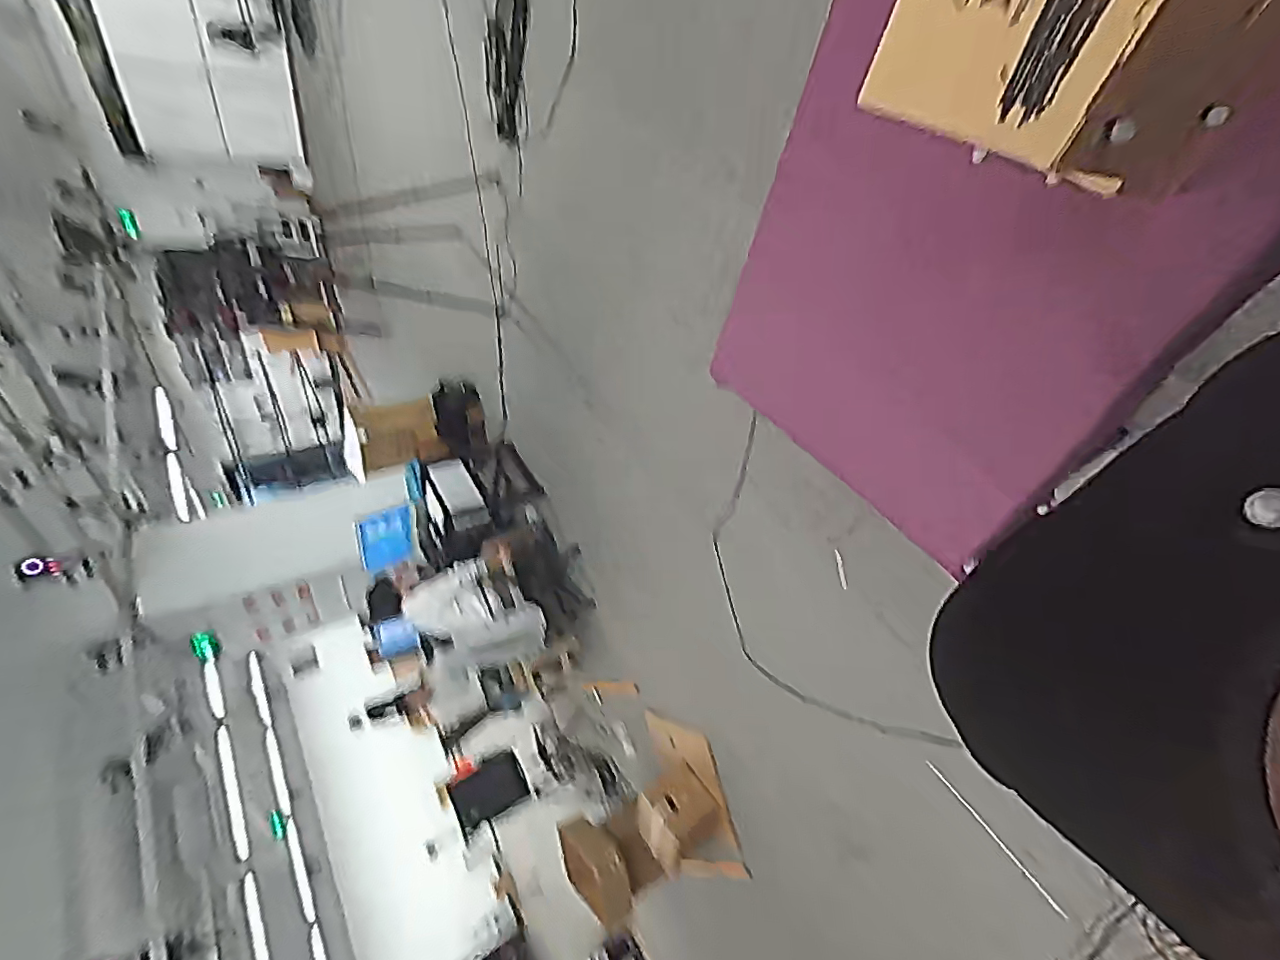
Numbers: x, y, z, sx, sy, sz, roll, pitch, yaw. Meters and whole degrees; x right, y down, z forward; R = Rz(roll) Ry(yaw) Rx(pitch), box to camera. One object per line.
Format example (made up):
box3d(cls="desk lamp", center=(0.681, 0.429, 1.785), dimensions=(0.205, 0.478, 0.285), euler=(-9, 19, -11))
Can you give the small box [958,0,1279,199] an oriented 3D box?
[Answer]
box3d(cls="small box", center=(0.452, -0.380, 0.498), dimensions=(0.168, 0.176, 0.179), euler=(52, 142, 29))
